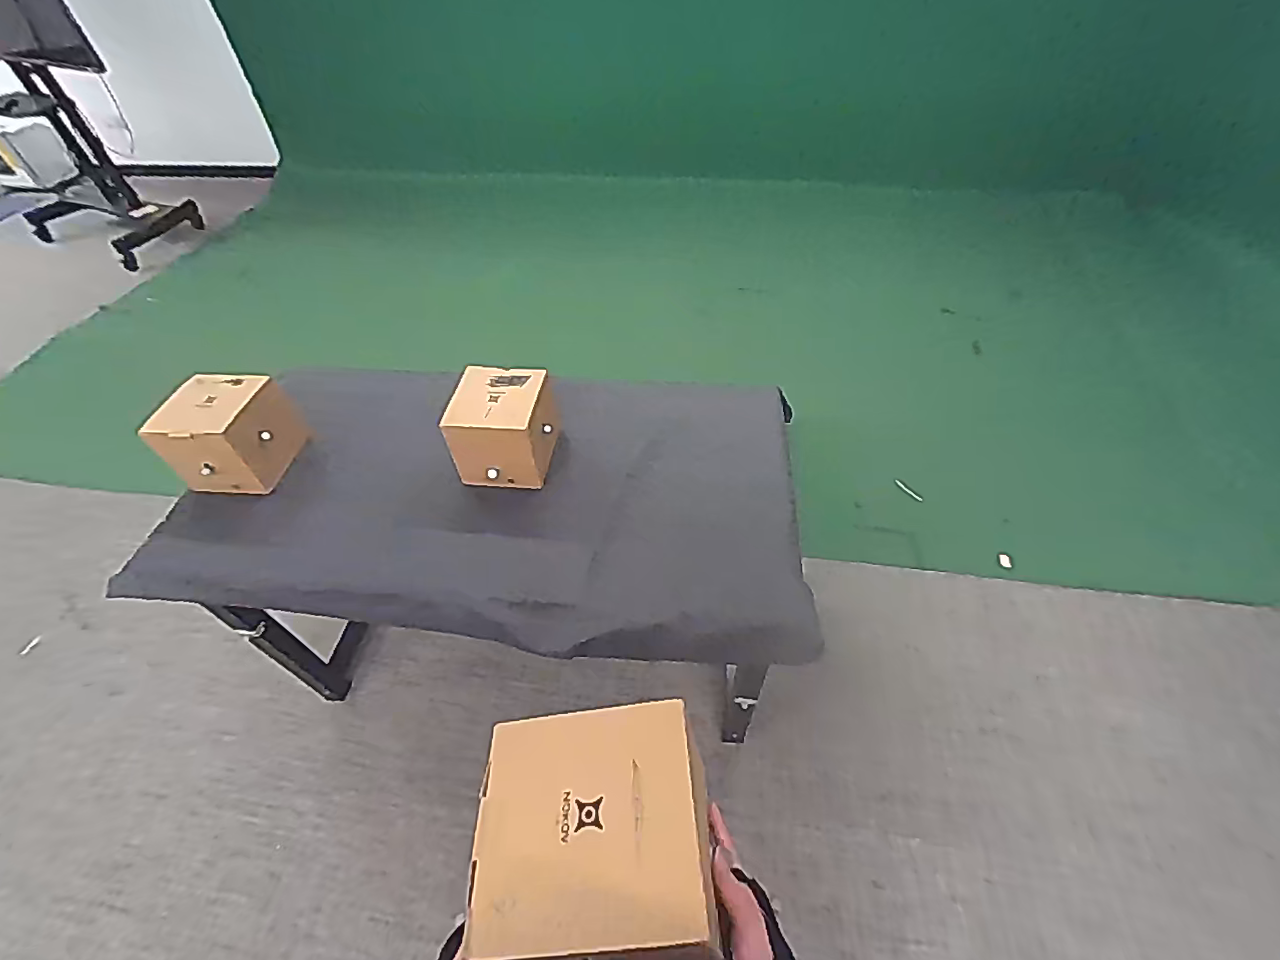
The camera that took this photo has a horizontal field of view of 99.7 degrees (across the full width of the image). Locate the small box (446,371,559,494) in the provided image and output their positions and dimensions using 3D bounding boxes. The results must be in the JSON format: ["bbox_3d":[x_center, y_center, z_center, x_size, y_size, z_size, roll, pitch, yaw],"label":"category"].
[{"bbox_3d":[-0.265,-0.096,1.093,0.168,0.176,0.179,4,50,5],"label":"small box"}]

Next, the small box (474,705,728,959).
[{"bbox_3d":[-0.023,0.327,0.486,0.179,0.176,0.168,-9,44,4],"label":"small box"}]

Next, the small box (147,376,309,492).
[{"bbox_3d":[-0.817,-0.091,1.099,0.168,0.176,0.179,3,49,3],"label":"small box"}]
